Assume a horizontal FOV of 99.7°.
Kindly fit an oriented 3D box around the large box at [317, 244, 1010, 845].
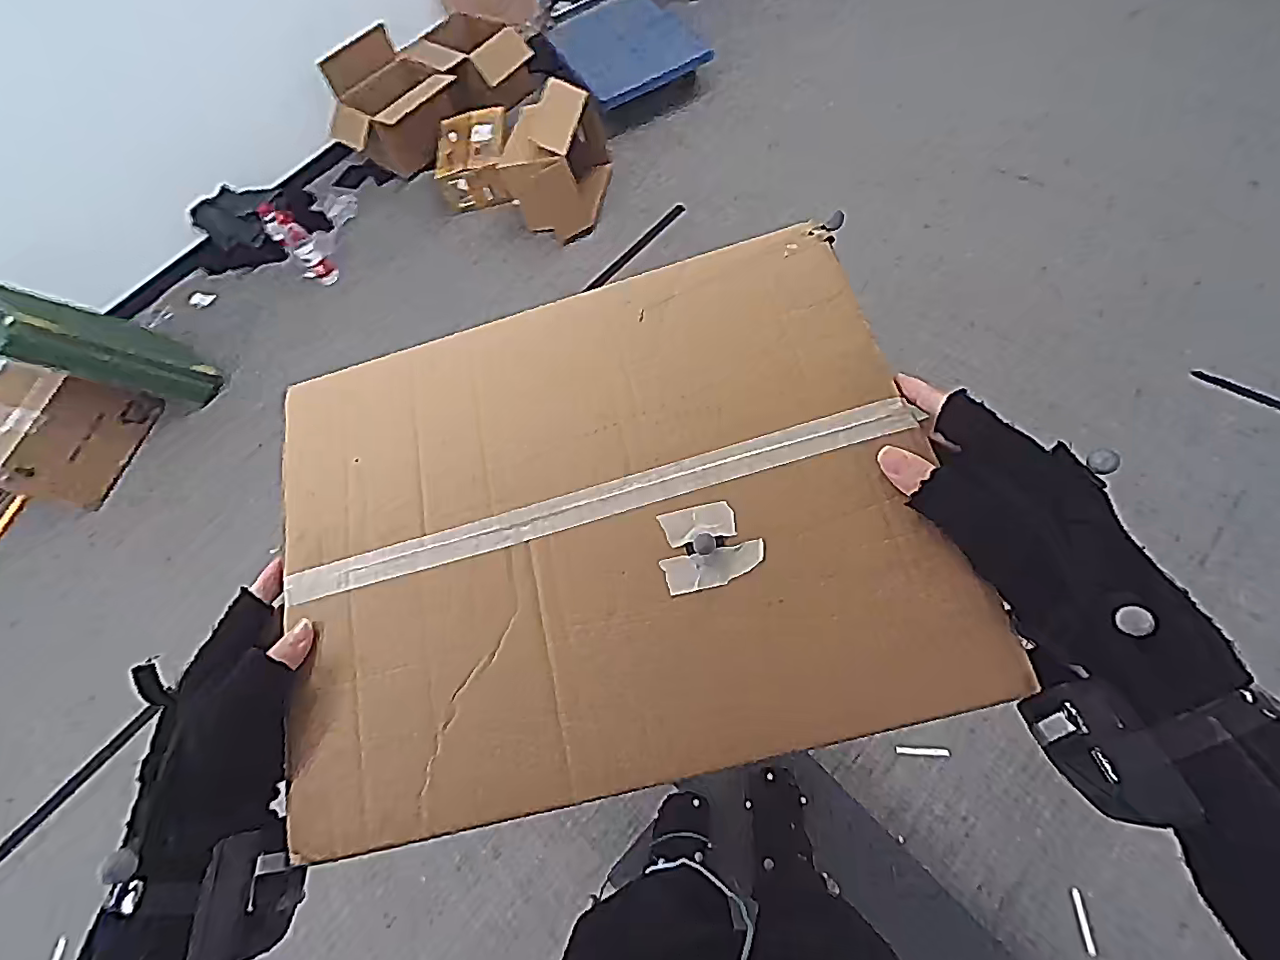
[{"bbox_3d":[-0.003,0.069,0.489,0.408,0.320,0.320,-16,70,4],"label":"large box"}]
